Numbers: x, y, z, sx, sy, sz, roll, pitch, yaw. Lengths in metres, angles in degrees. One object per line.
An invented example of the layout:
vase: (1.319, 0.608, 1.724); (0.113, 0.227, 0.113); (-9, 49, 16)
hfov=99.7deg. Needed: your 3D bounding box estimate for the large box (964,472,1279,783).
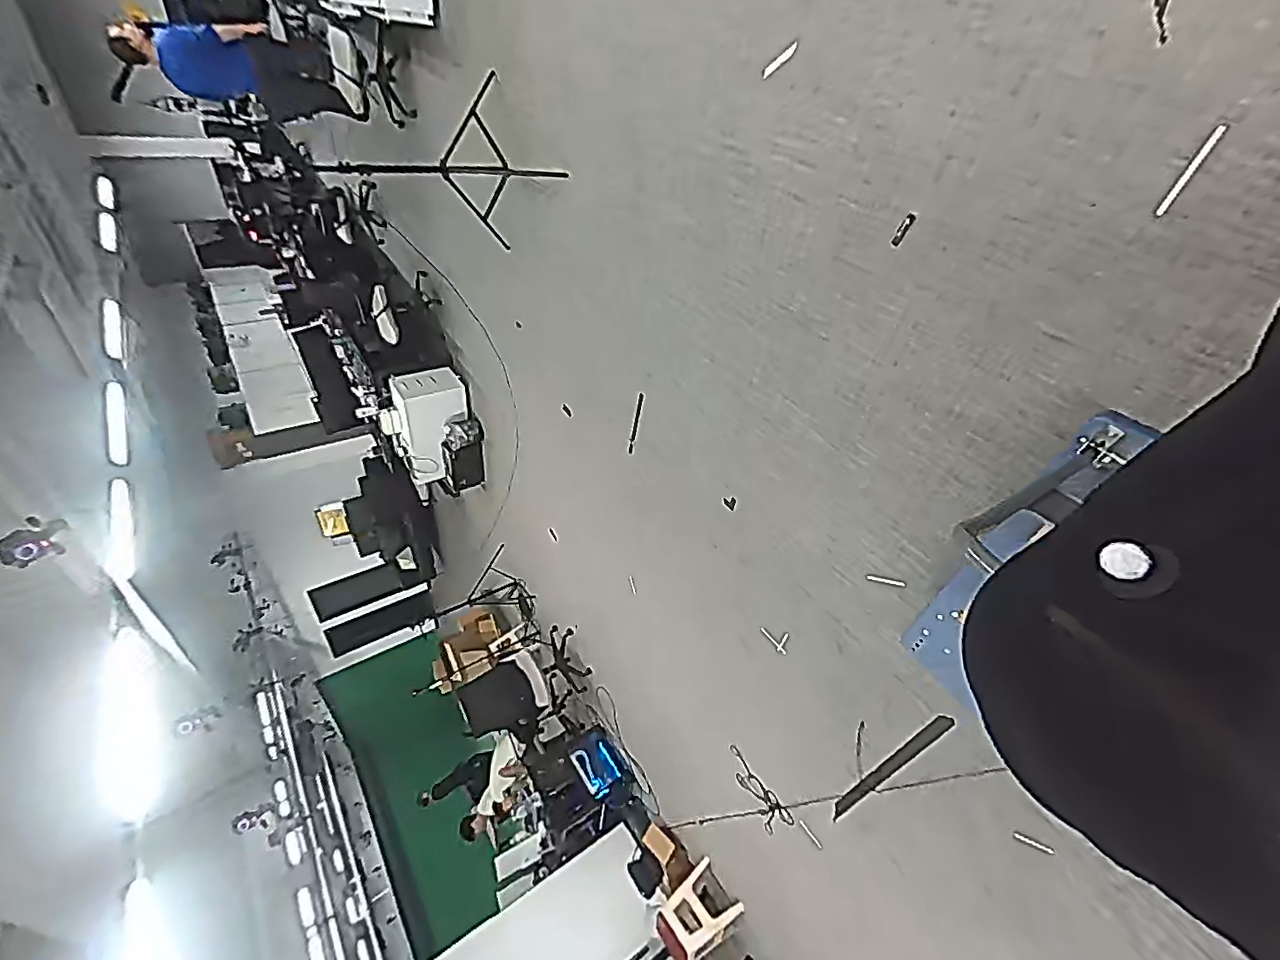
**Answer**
large box: (0.942, 0.251, 1.014); (0.408, 0.320, 0.320); (48, 143, 34)
